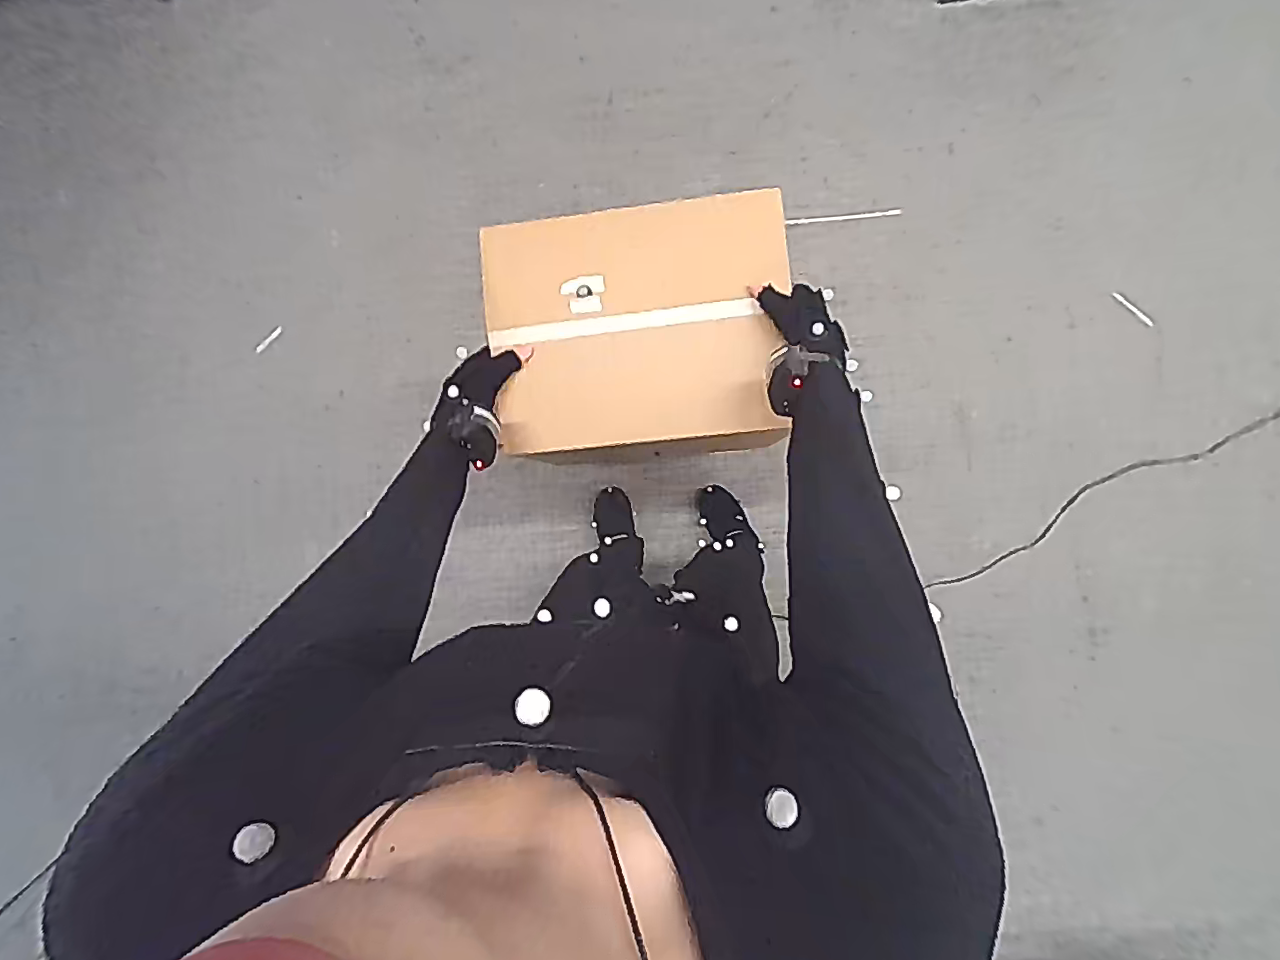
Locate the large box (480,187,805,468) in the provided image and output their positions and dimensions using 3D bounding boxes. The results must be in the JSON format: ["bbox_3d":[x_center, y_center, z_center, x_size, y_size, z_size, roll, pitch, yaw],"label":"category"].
[{"bbox_3d":[0.013,-0.196,0.845,0.408,0.320,0.320,-6,87,6],"label":"large box"}]
